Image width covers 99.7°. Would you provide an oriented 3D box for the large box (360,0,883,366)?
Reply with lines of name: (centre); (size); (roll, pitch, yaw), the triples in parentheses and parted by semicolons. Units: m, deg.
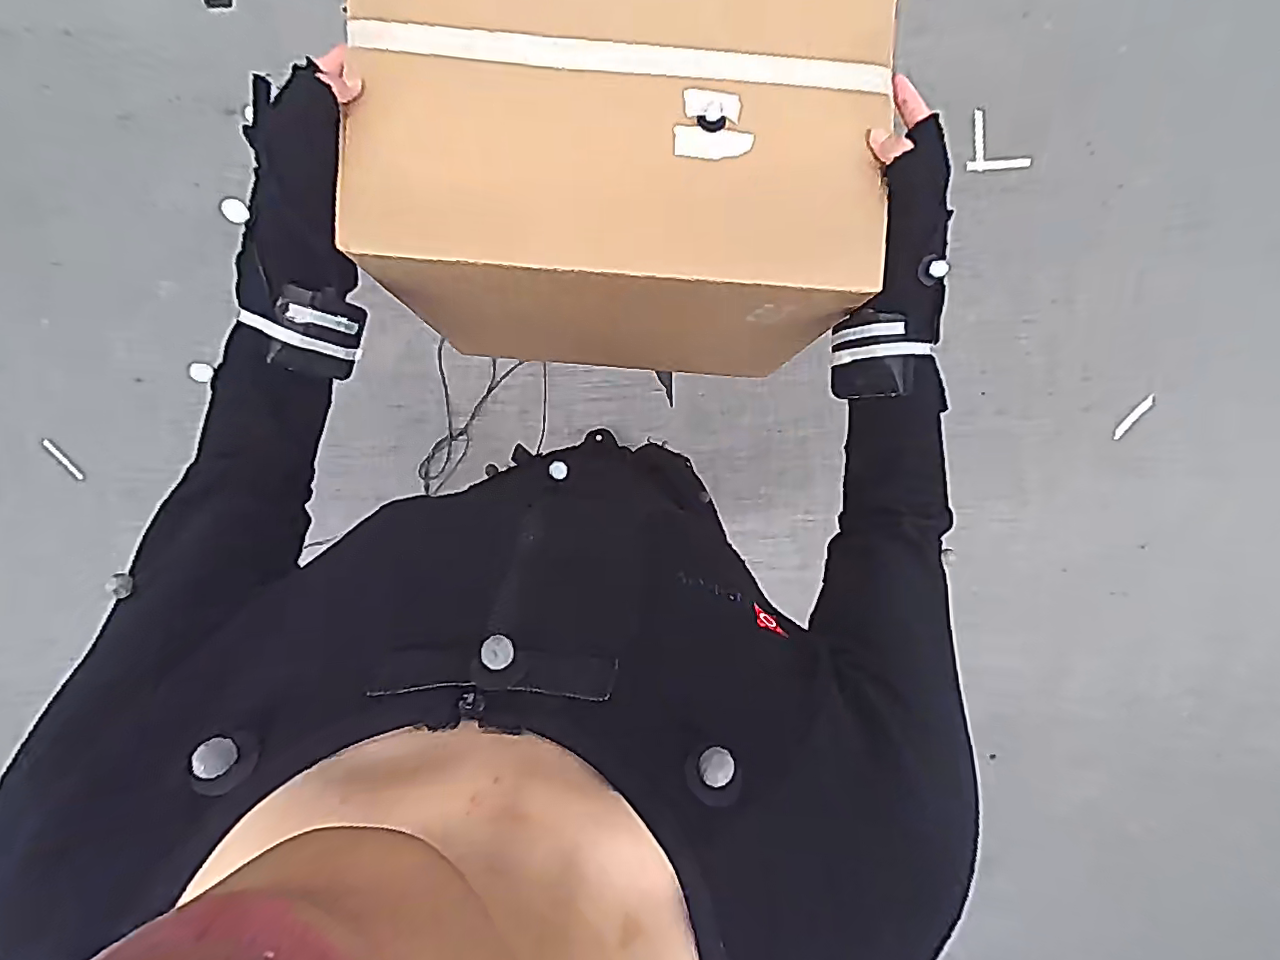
large box: (-0.016, -0.314, 0.568); (0.408, 0.320, 0.320); (3, 89, -2)
